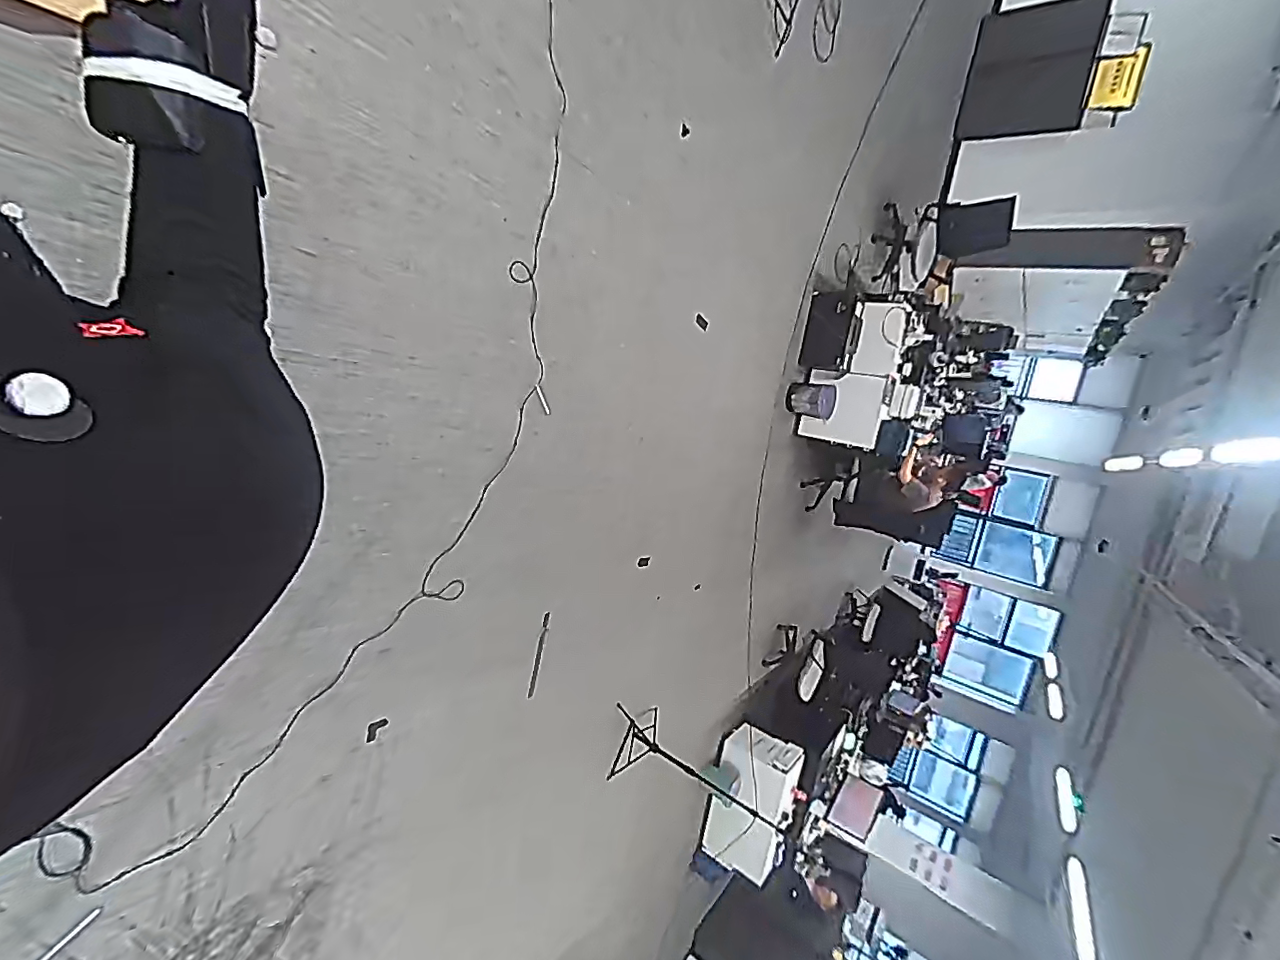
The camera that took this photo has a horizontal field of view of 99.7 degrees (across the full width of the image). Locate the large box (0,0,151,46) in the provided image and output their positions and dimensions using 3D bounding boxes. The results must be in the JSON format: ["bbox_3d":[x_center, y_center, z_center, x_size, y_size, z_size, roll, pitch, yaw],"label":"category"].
[{"bbox_3d":[-0.512,-0.454,0.213,0.408,0.320,0.320,-14,128,-55],"label":"large box"}]
